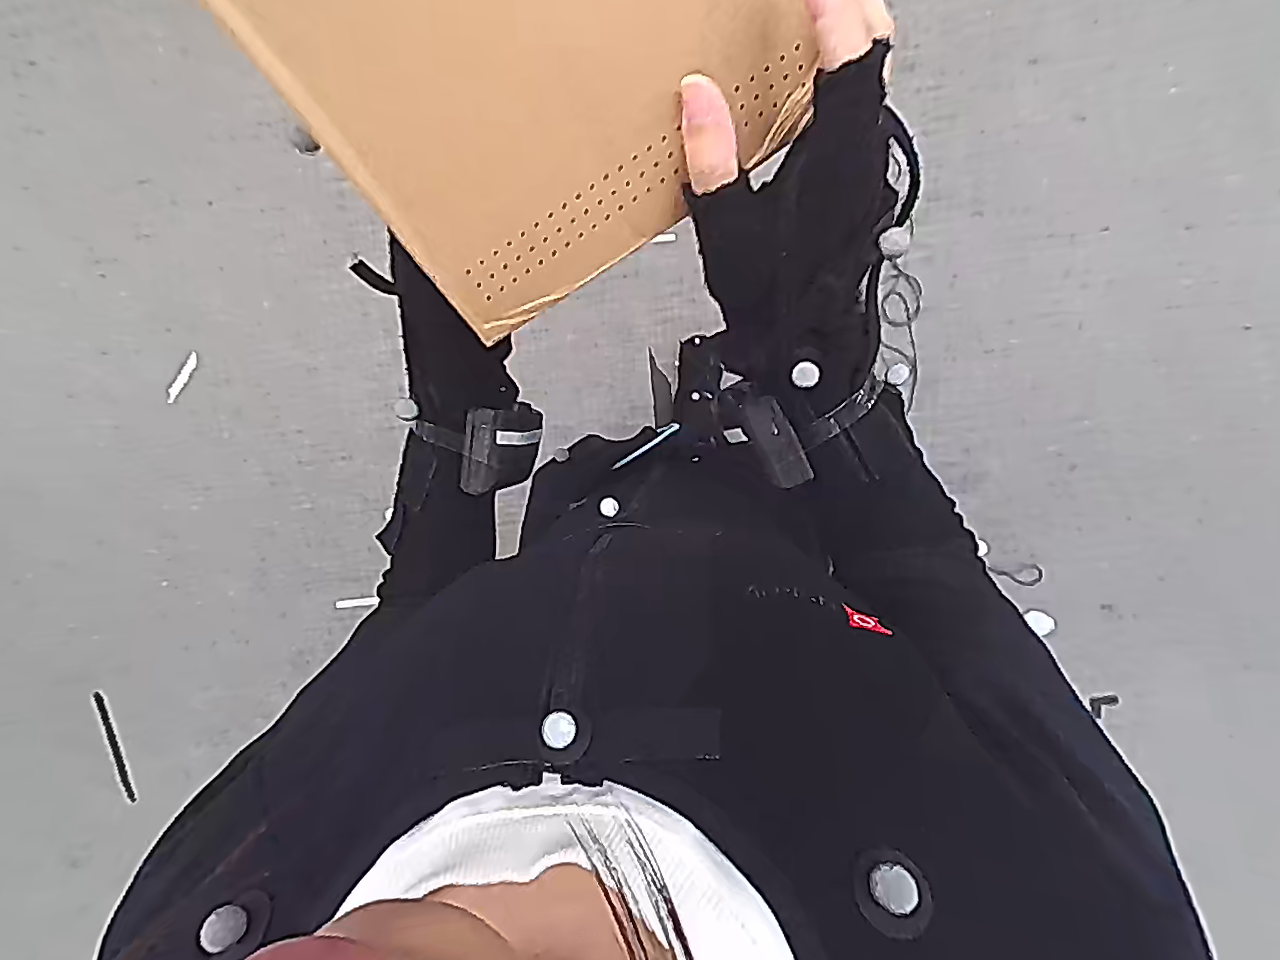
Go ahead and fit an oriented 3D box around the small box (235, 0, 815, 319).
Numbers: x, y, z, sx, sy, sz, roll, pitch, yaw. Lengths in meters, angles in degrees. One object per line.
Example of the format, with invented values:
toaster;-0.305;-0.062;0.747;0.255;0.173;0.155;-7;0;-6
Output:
small box;-0.049;-0.206;0.241;0.179;0.168;0.176;-31;137;6
